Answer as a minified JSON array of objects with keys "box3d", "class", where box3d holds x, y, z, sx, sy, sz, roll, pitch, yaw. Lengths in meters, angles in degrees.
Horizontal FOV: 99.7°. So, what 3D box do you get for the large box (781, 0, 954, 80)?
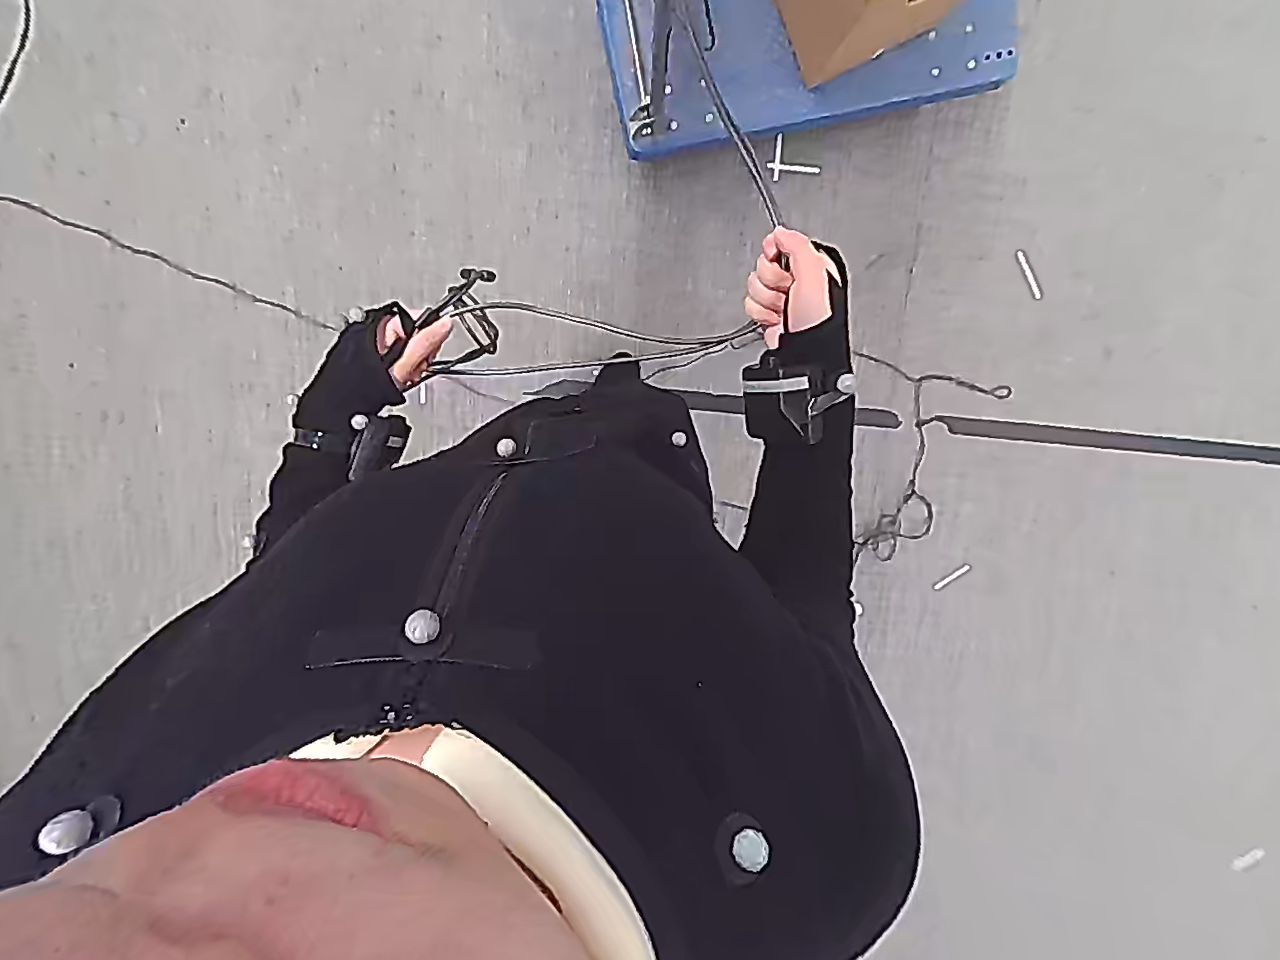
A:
[{"box3d":[0.420,-1.052,0.958,0.320,0.320,0.408,-26,103,4],"class":"large box"}]
